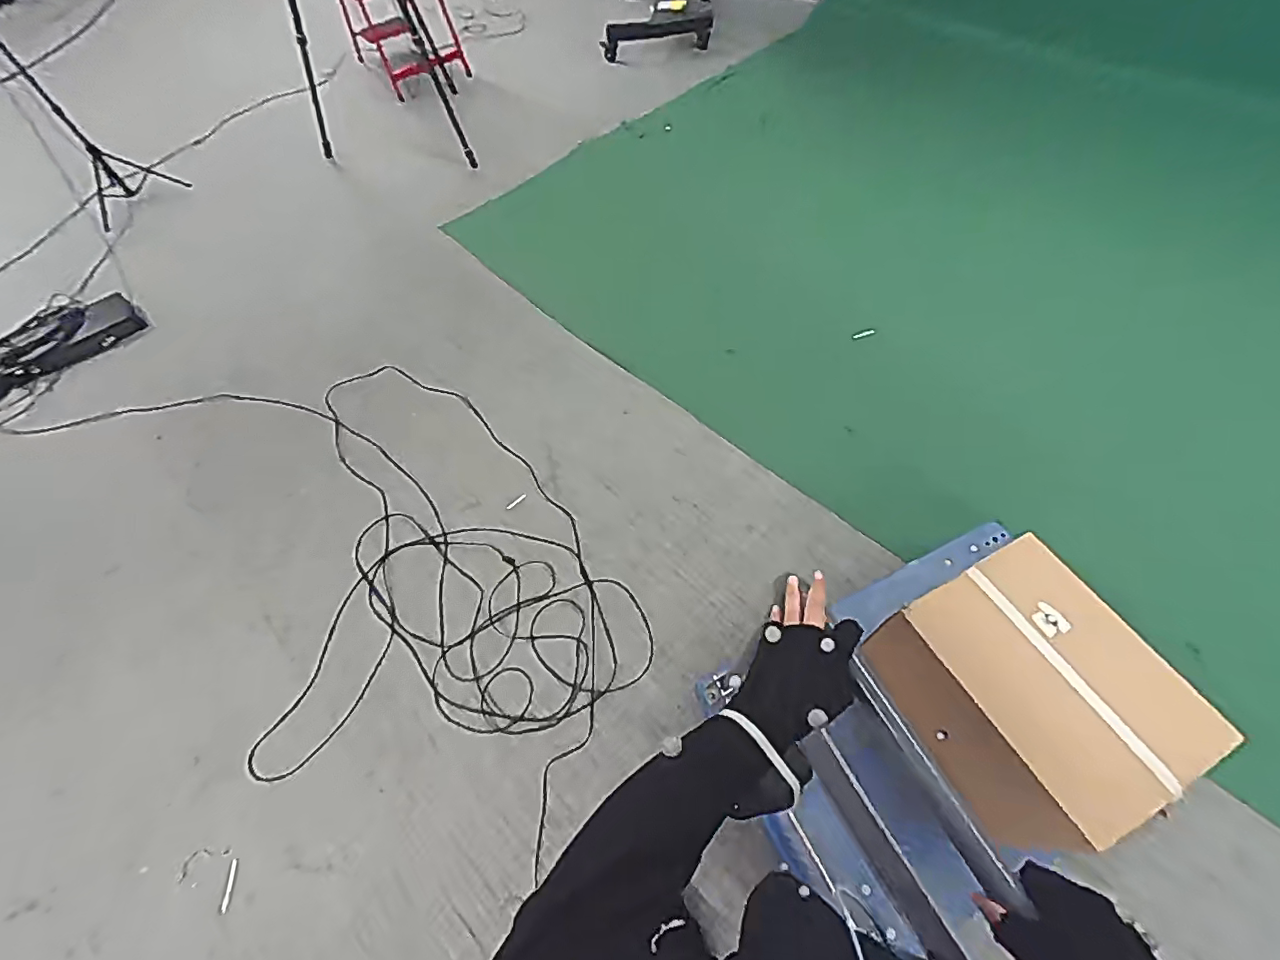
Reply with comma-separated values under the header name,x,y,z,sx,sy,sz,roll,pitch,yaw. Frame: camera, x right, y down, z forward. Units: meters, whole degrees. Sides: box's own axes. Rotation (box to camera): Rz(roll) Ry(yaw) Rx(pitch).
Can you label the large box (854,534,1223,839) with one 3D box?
name,x,y,z,sx,sy,sz,roll,pitch,yaw
large box,0.691,0.387,1.028,0.320,0.320,0.408,-26,60,-11
